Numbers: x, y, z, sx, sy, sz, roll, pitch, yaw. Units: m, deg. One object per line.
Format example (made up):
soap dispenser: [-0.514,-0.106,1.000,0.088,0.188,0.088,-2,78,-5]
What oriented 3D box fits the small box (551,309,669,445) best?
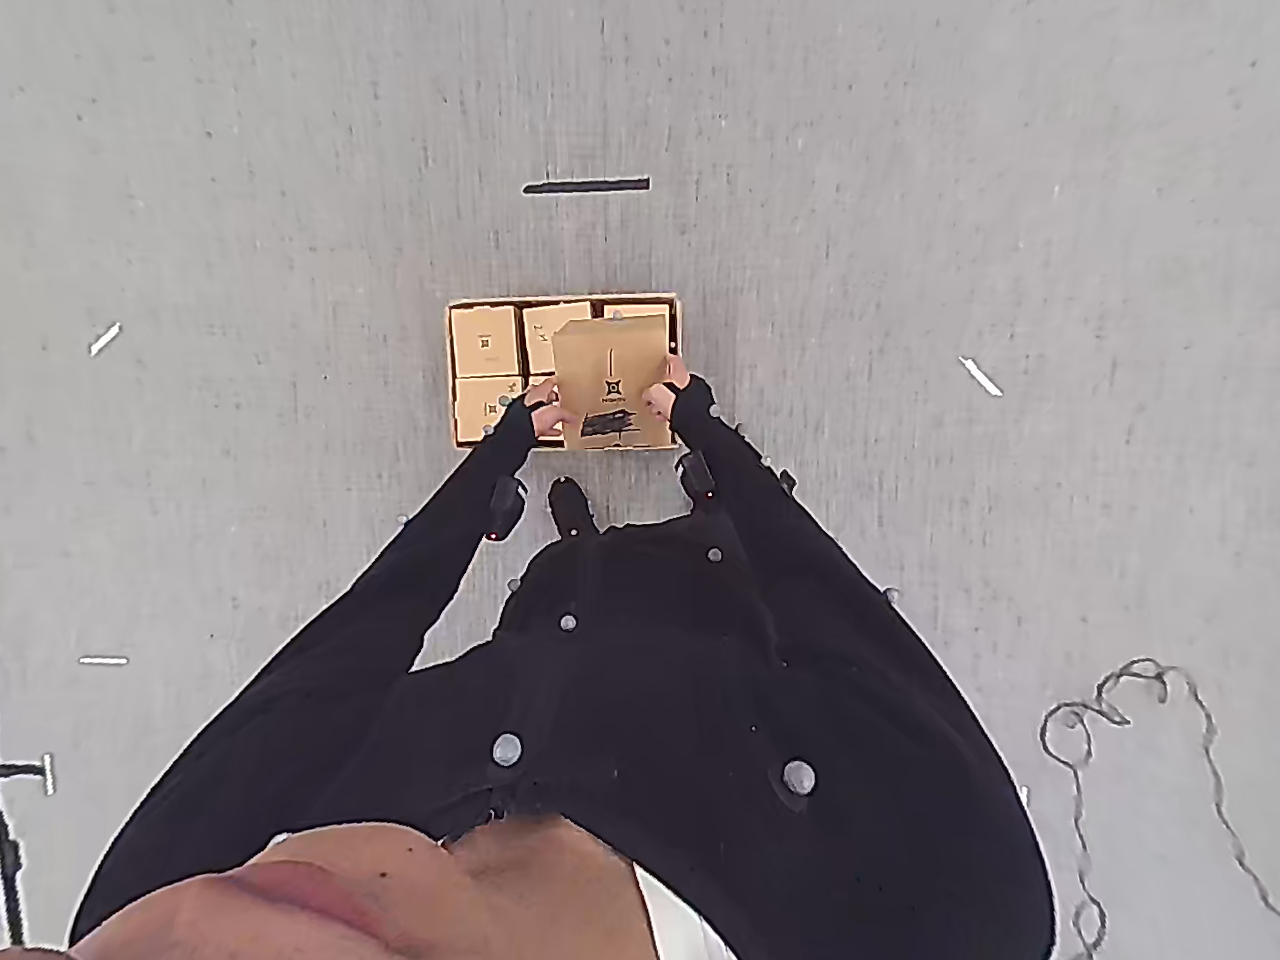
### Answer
small box: [-0.038,-0.169,0.867,0.168,0.176,0.179,-3,114,3]
